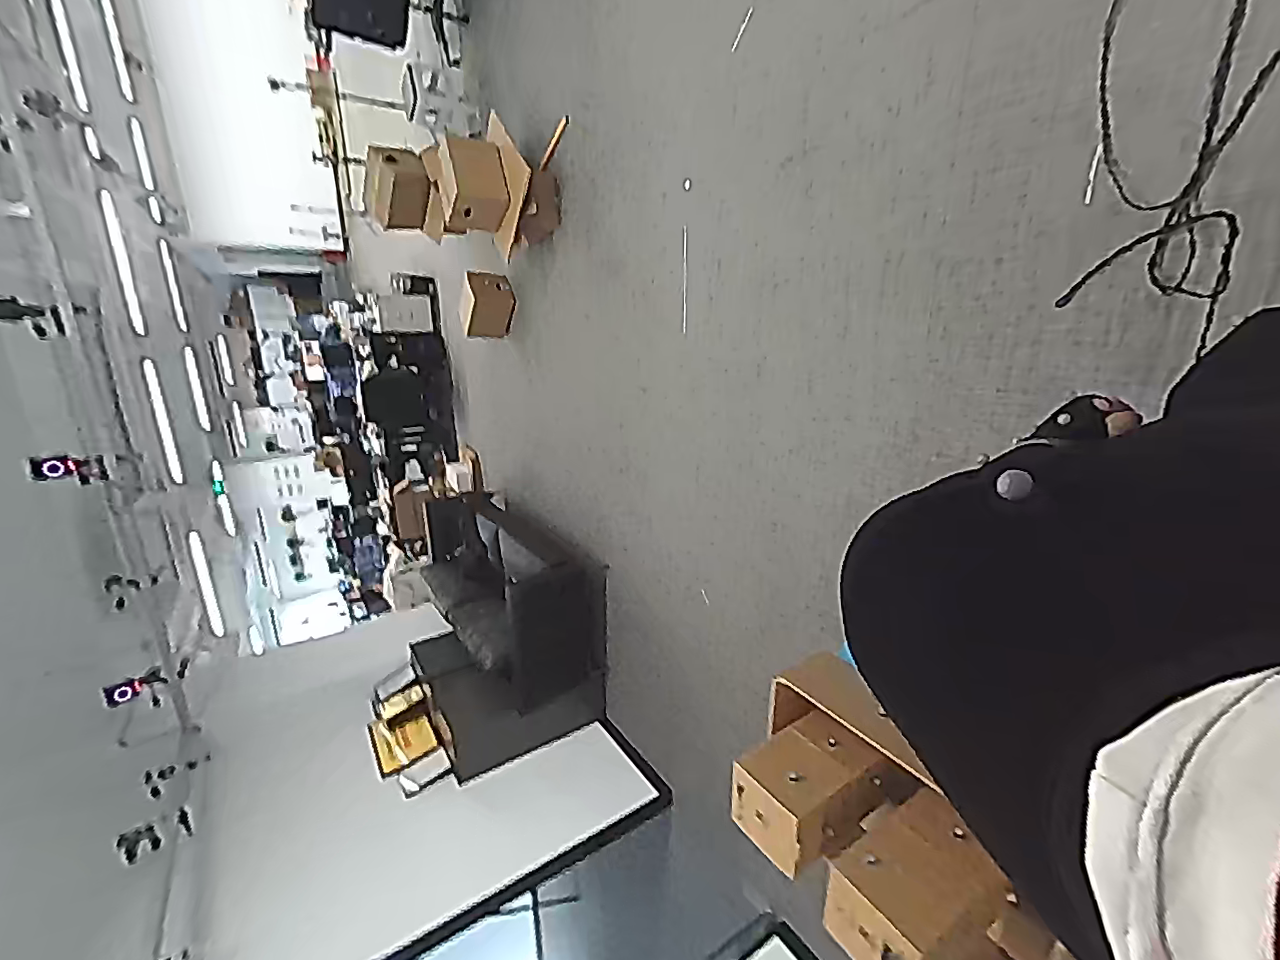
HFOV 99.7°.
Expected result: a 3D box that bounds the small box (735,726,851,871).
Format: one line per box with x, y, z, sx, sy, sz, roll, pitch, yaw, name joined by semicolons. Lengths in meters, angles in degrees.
0.327;0.668;1.159;0.179;0.176;0.168;22;118;51;small box
